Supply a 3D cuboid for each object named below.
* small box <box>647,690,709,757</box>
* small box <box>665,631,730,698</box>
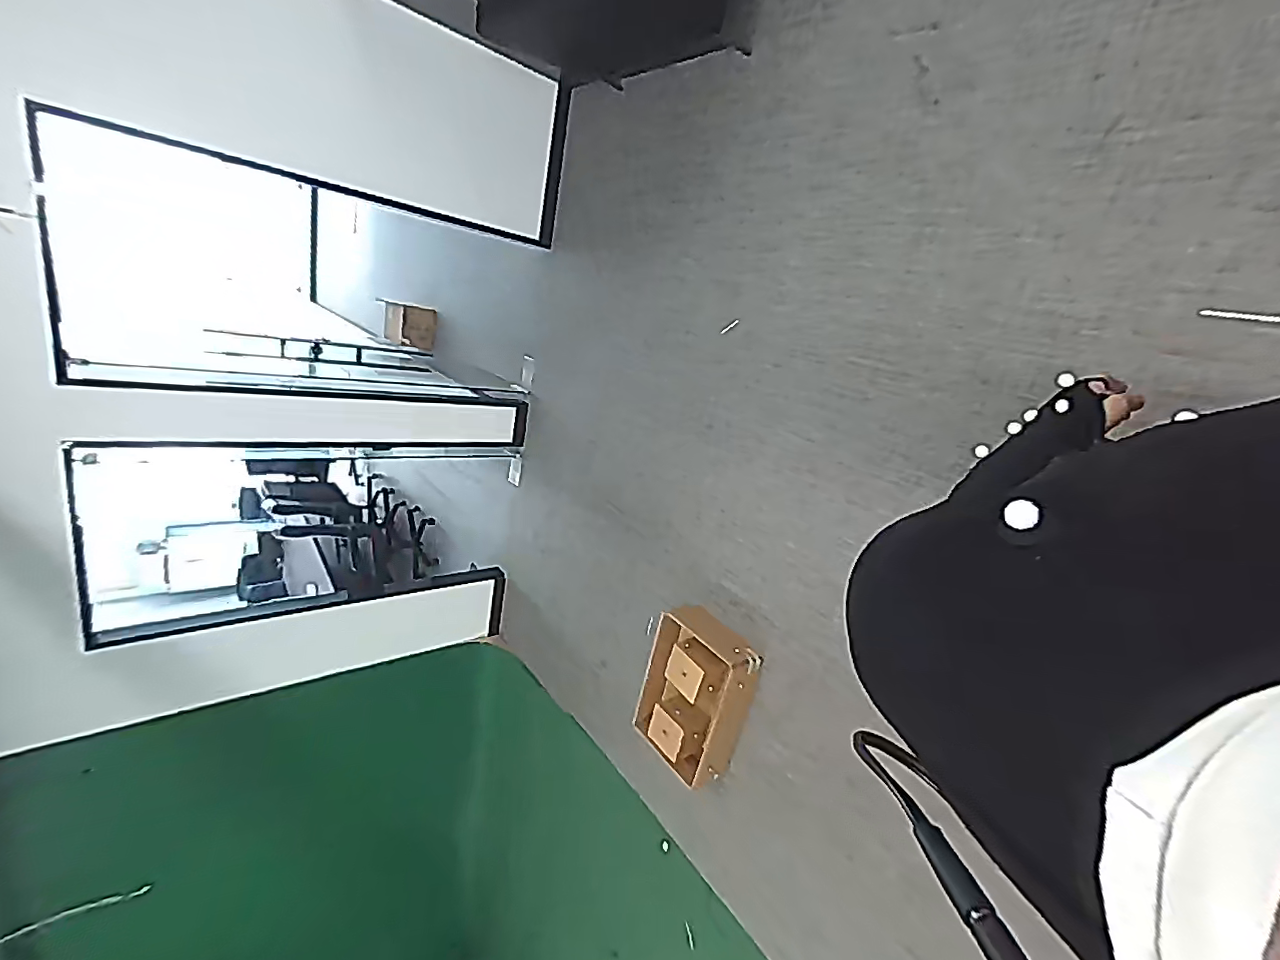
[{"bbox_3d":[0.162,1.009,2.264,0.179,0.176,0.168,31,114,45],"label":"small box"},{"bbox_3d":[0.233,0.732,2.168,0.179,0.176,0.168,36,119,43],"label":"small box"}]
